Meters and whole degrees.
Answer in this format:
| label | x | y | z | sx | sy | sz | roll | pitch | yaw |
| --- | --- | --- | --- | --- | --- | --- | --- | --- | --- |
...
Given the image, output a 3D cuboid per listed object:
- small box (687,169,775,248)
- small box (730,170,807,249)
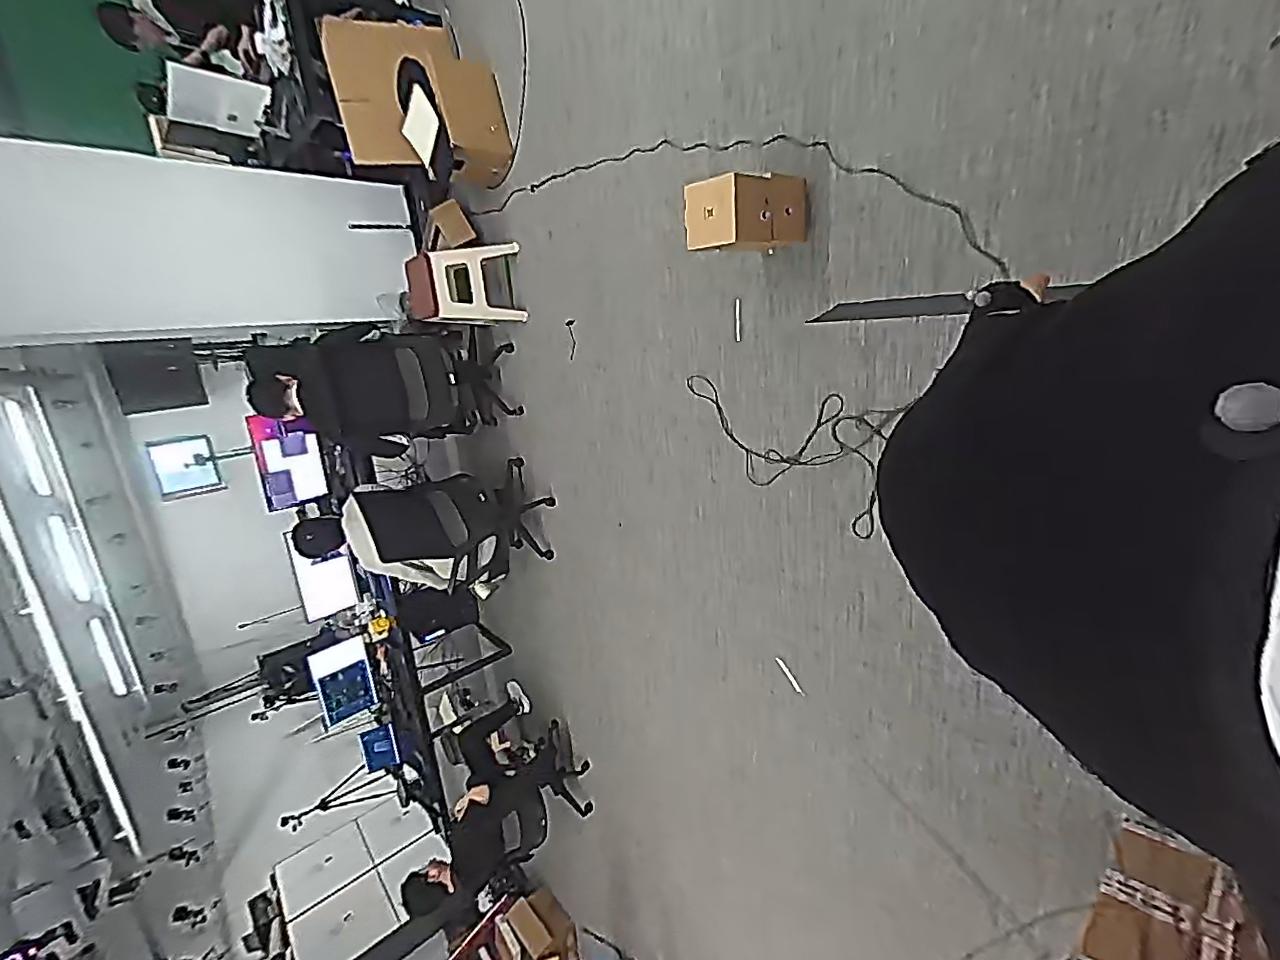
| label | x | y | z | sx | sy | sz | roll | pitch | yaw |
| --- | --- | --- | --- | --- | --- | --- | --- | --- | --- |
| small box | 0.249 | -0.735 | 1.479 | 0.179 | 0.176 | 0.168 | 14 | 116 | 46 |
| small box | 0.373 | -0.779 | 1.575 | 0.168 | 0.176 | 0.179 | 12 | 114 | 48 |
